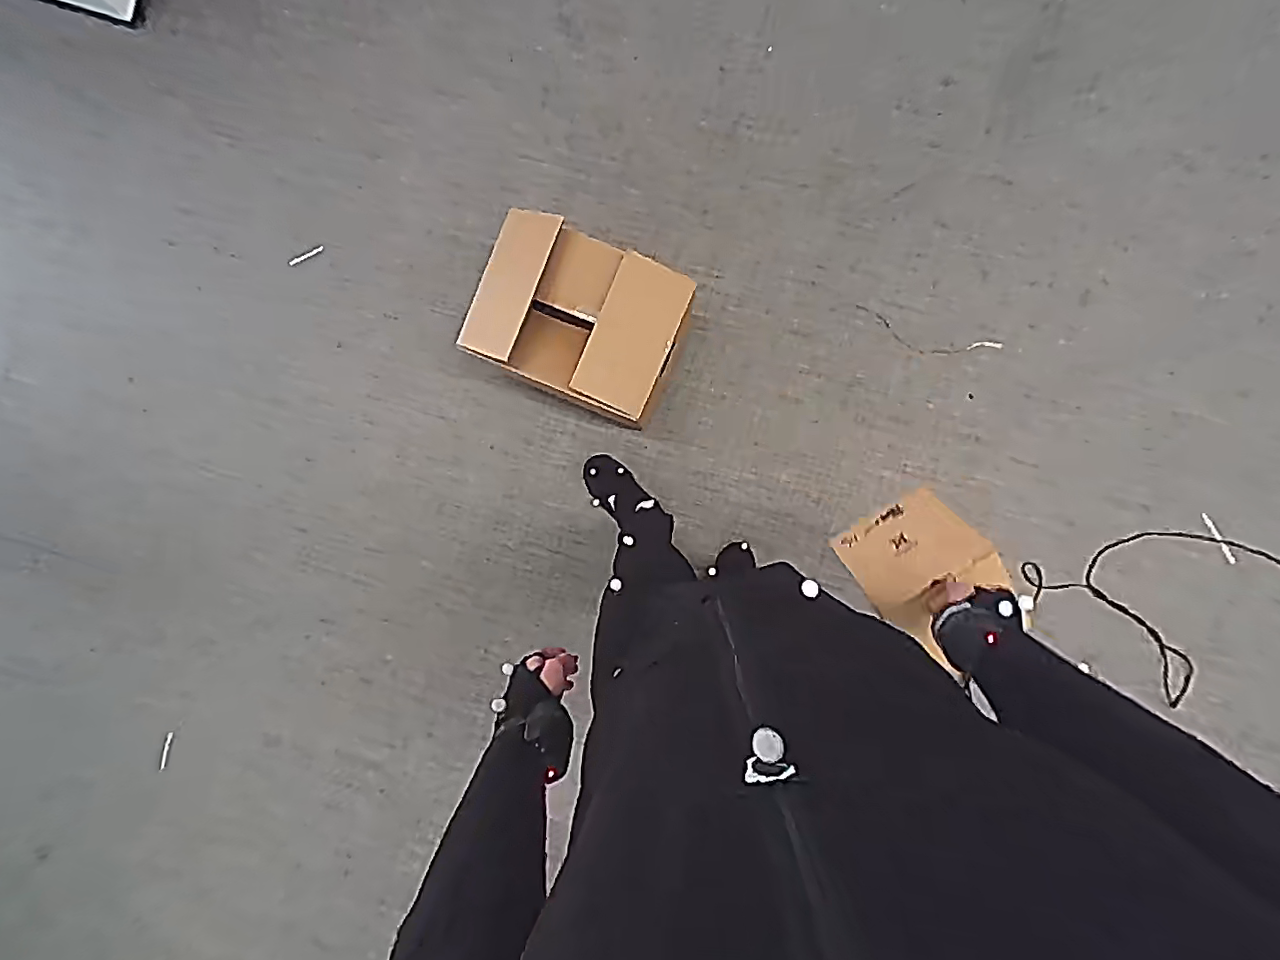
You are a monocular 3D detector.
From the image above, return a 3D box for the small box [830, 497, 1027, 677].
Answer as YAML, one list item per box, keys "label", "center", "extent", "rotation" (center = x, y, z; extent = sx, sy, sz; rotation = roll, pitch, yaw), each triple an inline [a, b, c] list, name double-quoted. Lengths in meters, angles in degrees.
- label: "small box"
  center: [0.425, 0.165, 0.807]
  extent: [0.168, 0.179, 0.176]
  rotation: [-37, 114, 11]
